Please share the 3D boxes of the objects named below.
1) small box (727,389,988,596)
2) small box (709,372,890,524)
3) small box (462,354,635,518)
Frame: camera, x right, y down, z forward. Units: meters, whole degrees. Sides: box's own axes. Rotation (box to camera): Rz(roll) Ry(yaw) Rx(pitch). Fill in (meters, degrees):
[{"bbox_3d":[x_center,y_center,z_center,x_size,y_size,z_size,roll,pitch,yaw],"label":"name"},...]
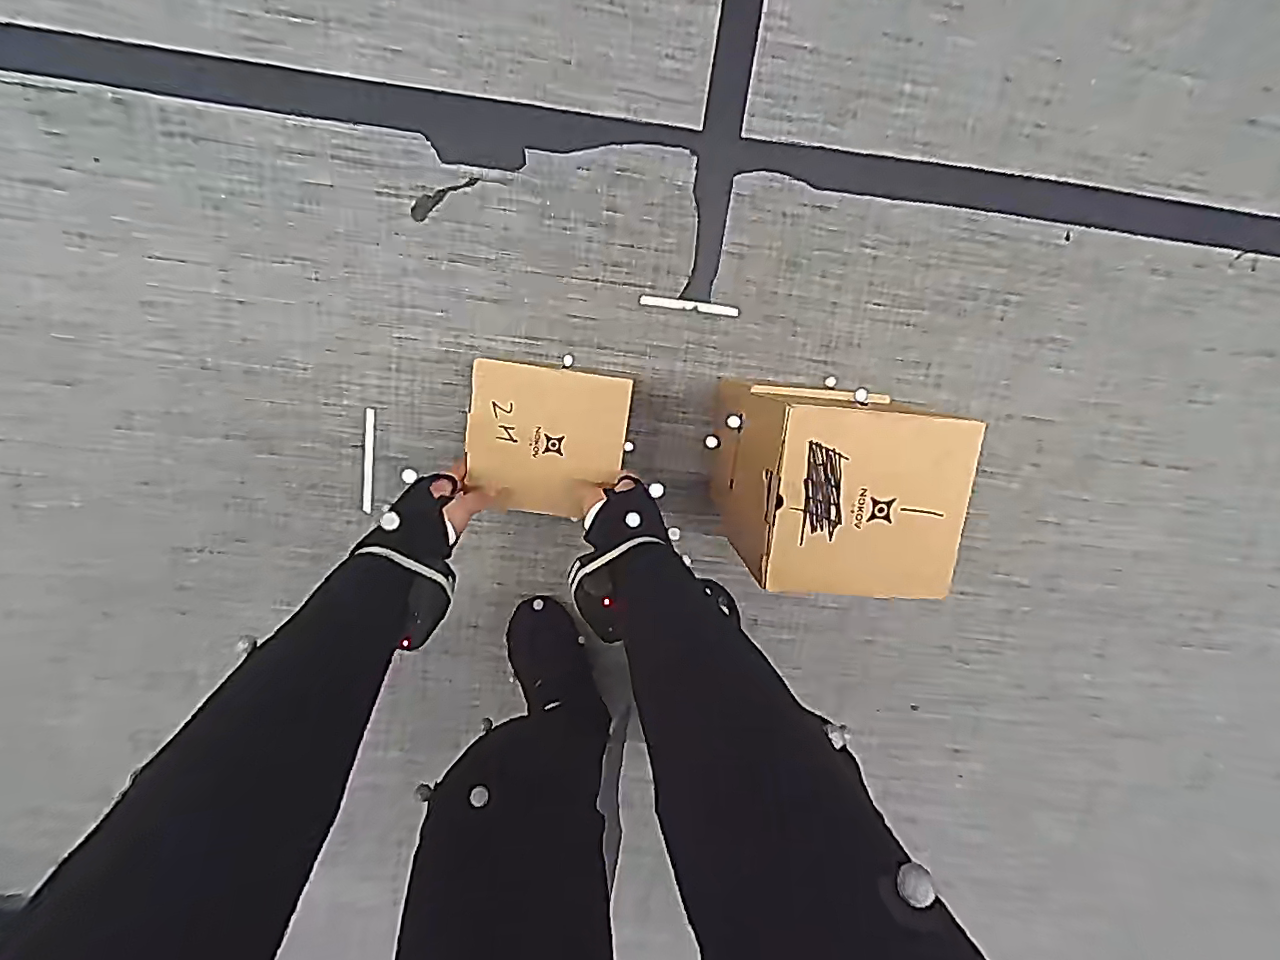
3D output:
[{"bbox_3d":[0.193,0.001,0.538,0.179,0.176,0.168,4,103,-5],"label":"small box"},{"bbox_3d":[0.189,-0.041,0.699,0.168,0.176,0.179,4,104,-5],"label":"small box"},{"bbox_3d":[-0.107,-0.063,0.671,0.179,0.176,0.168,7,103,-5],"label":"small box"}]
